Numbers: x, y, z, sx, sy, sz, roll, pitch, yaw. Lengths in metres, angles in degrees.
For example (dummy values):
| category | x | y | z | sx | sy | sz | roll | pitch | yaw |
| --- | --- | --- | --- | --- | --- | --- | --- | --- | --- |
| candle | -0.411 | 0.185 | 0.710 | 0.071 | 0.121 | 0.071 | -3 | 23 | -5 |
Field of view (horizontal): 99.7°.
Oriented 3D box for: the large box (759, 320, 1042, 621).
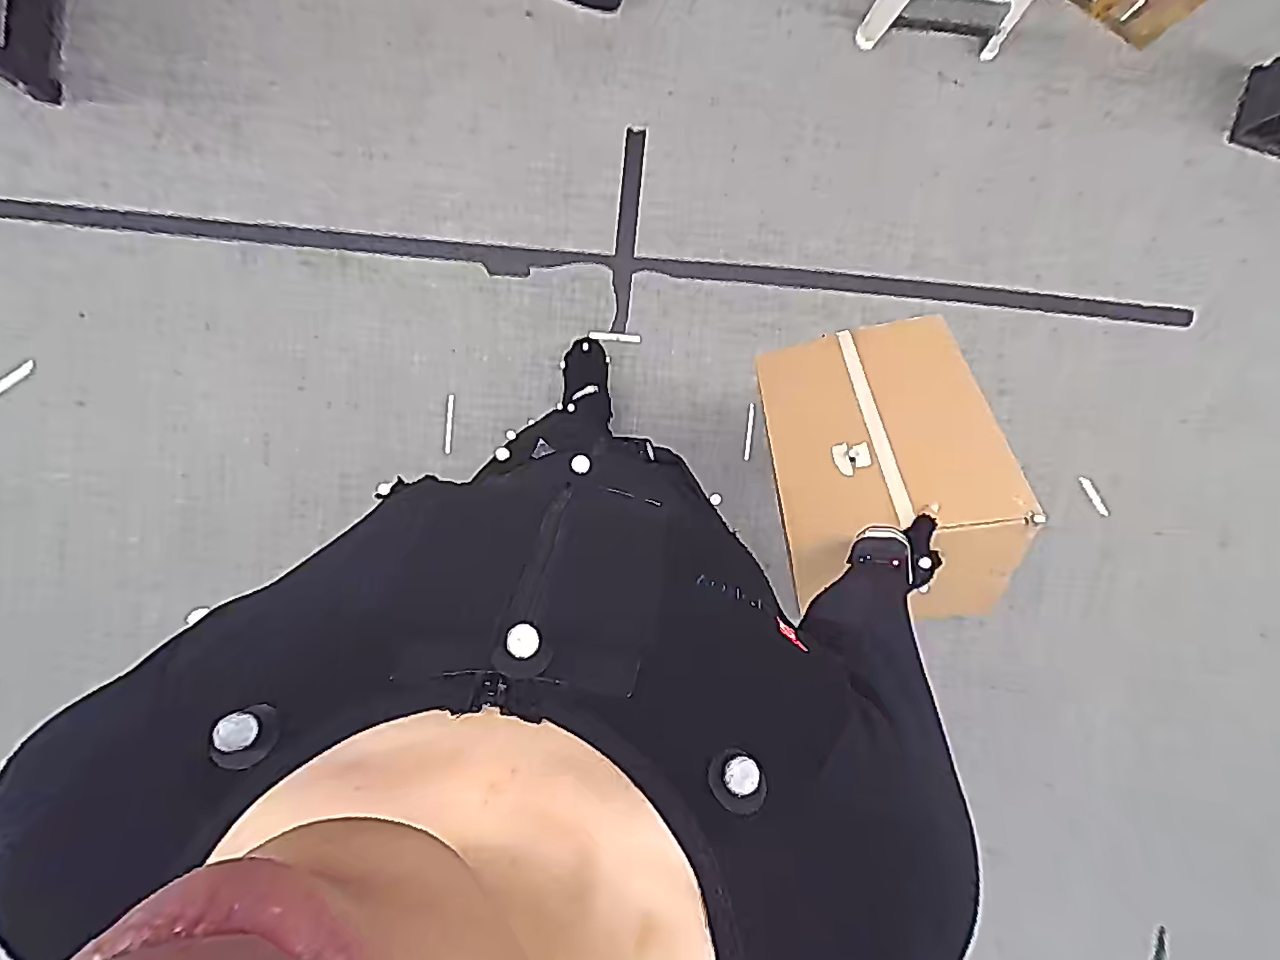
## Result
| category | x | y | z | sx | sy | sz | roll | pitch | yaw |
| --- | --- | --- | --- | --- | --- | --- | --- | --- | --- |
| large box | 0.408 | -0.007 | 0.955 | 0.320 | 0.320 | 0.408 | -10 | 54 | 14 |
